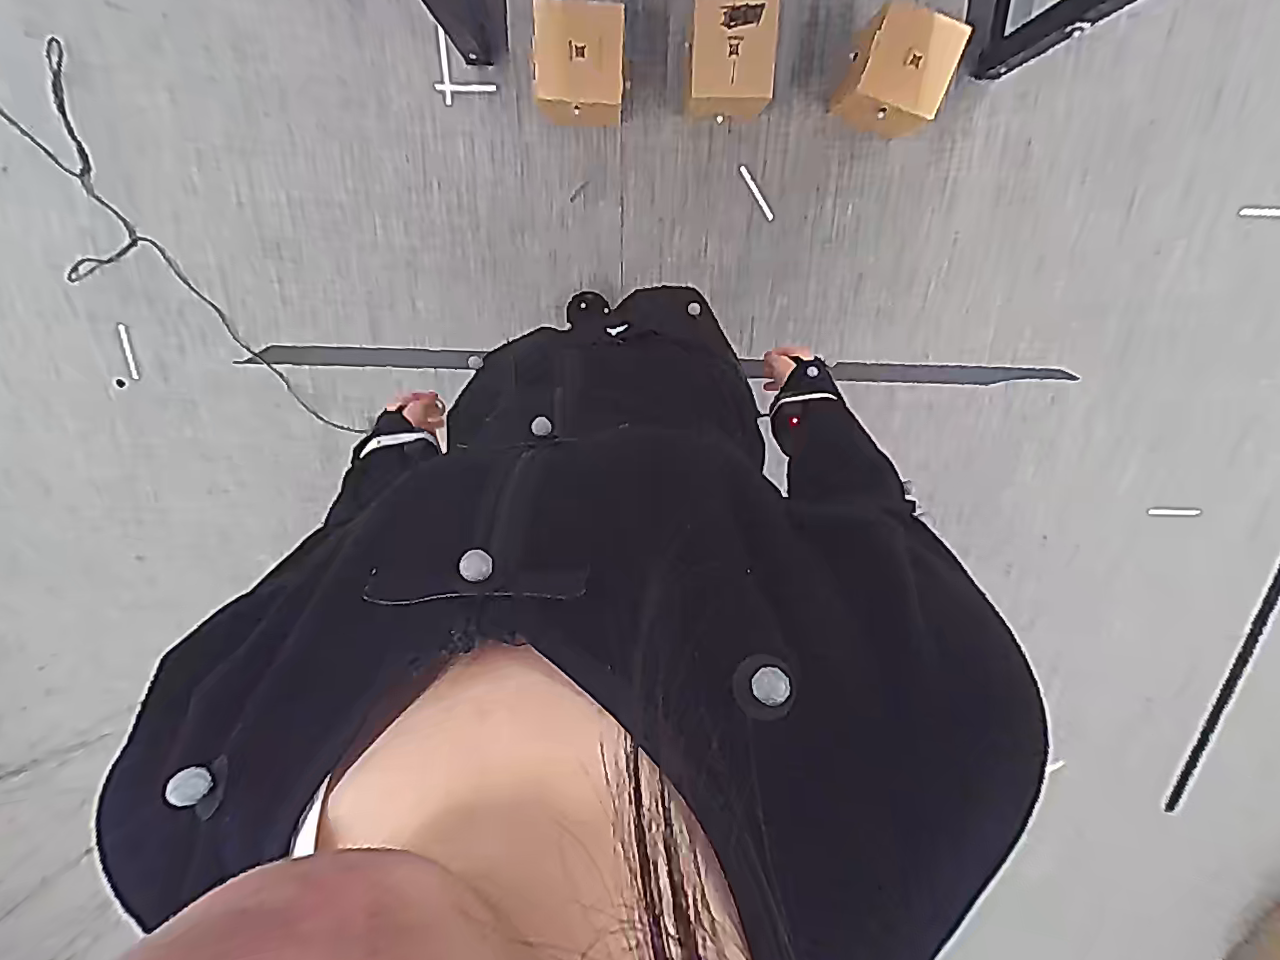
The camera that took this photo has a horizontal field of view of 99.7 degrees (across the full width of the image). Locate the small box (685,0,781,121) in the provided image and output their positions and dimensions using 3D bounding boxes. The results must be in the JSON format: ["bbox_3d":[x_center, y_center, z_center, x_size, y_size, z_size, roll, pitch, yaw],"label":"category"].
[{"bbox_3d":[0.184,-0.876,1.127,0.168,0.176,0.179,0,111,-1],"label":"small box"}]

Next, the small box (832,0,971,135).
[{"bbox_3d":[0.540,-0.859,1.143,0.179,0.176,0.168,17,109,-6],"label":"small box"}]
